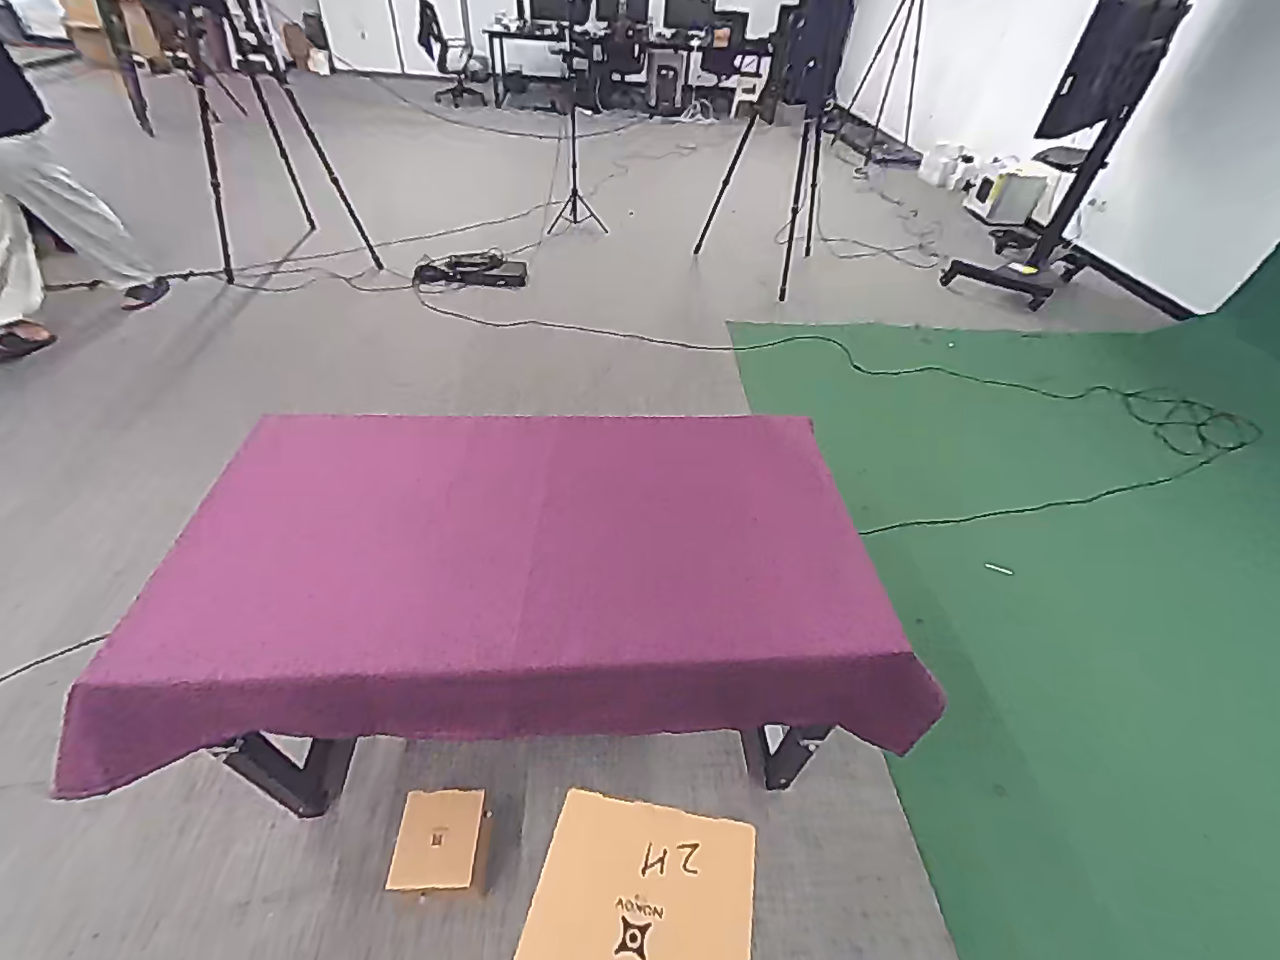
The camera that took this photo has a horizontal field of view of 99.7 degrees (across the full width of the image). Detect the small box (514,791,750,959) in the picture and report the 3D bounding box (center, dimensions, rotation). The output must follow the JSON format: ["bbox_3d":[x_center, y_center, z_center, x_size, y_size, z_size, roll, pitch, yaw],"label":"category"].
[{"bbox_3d":[0.000,0.405,0.452,0.168,0.176,0.179,5,34,12],"label":"small box"}]
